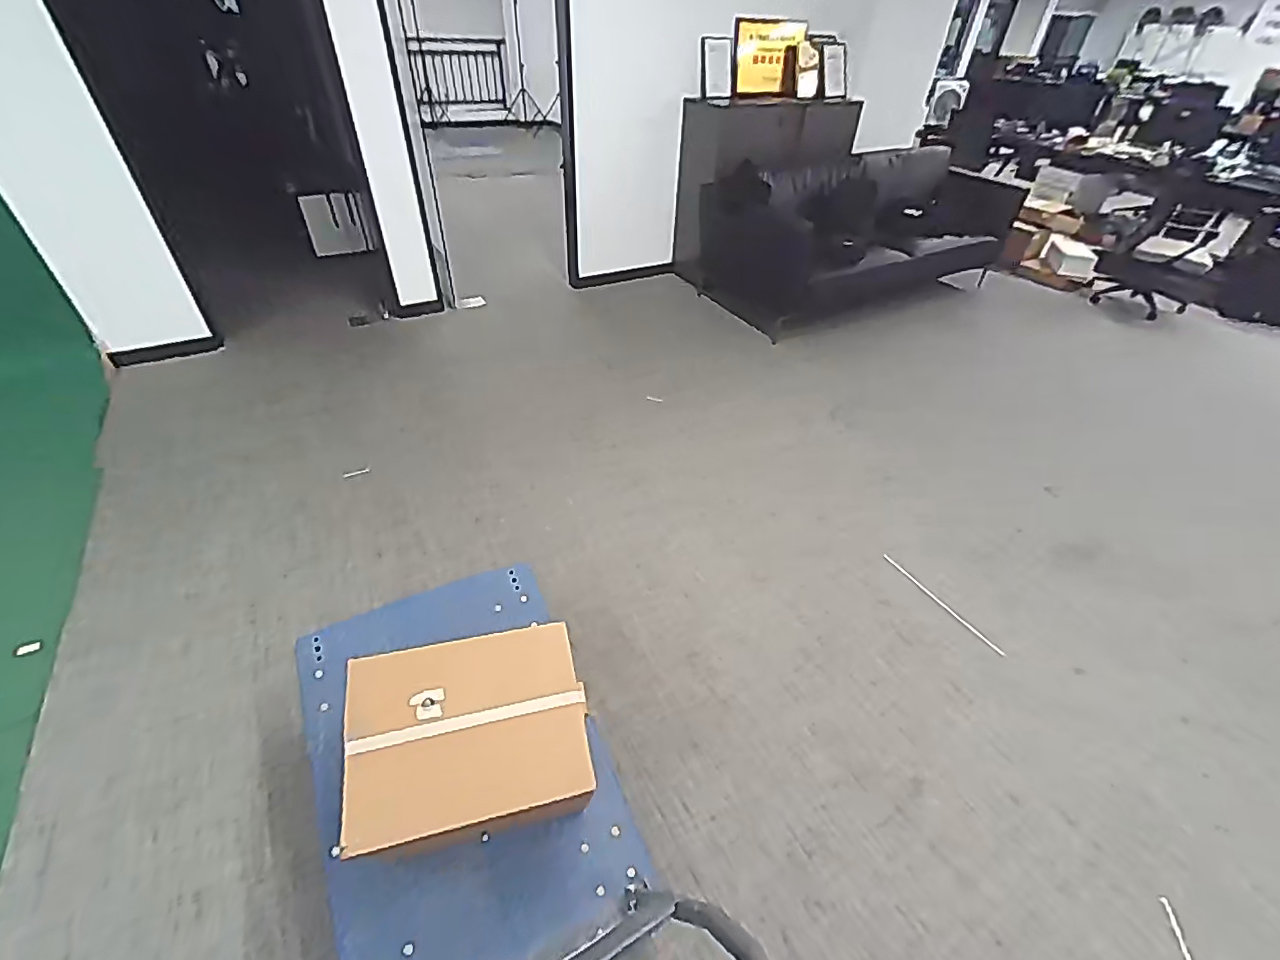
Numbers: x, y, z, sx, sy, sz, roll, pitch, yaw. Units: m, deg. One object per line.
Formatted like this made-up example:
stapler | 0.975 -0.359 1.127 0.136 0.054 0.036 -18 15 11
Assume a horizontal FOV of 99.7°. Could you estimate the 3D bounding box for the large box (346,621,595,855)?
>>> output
large box | -0.325 0.518 1.088 0.408 0.320 0.320 -7 56 -15
